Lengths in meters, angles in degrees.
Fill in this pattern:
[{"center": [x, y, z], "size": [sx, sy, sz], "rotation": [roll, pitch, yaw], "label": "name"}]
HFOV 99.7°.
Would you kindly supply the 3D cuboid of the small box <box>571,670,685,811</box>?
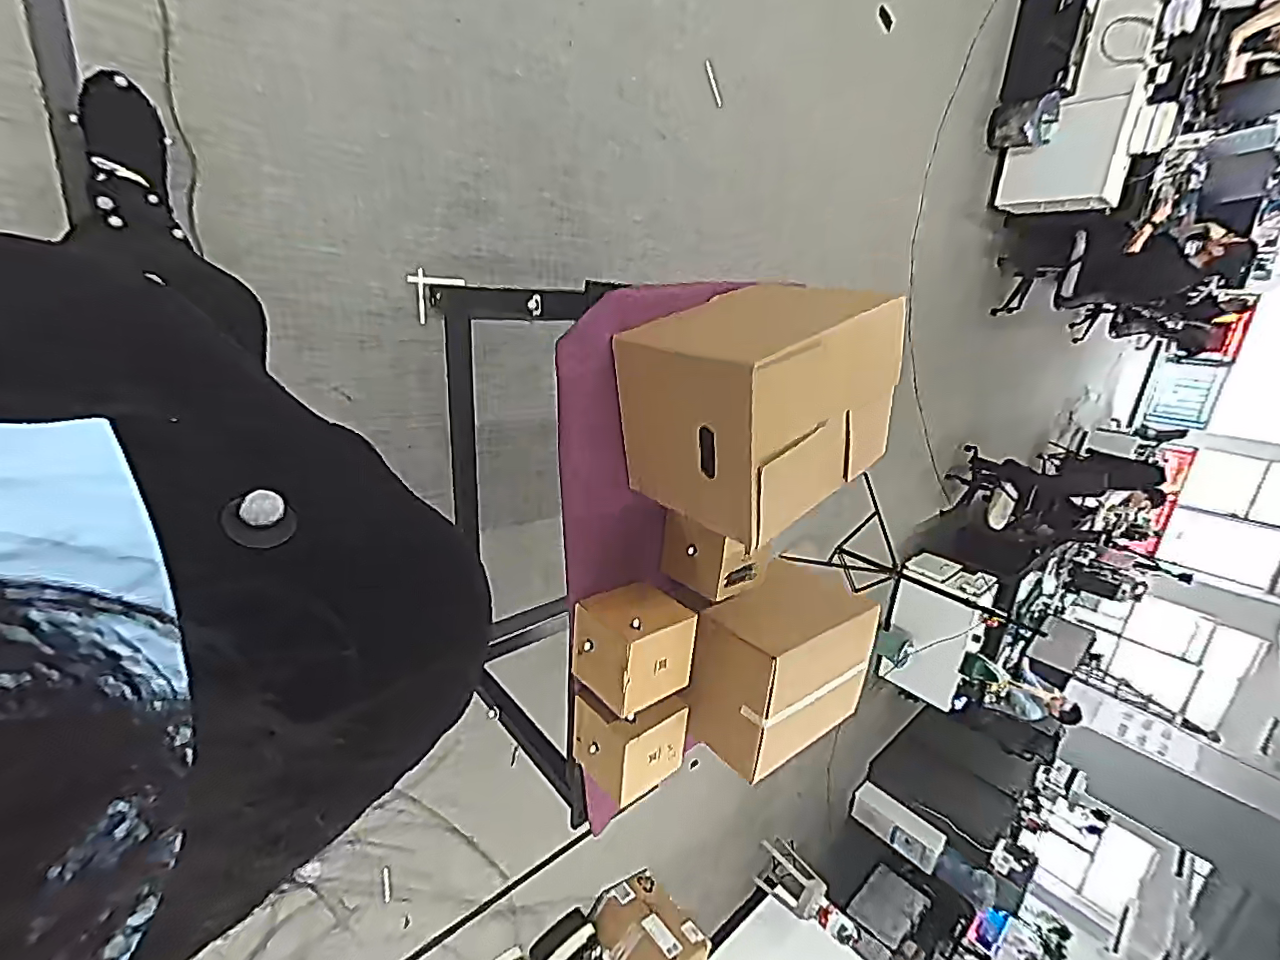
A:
[{"center": [-0.030, 0.537, 1.142], "size": [0.179, 0.176, 0.168], "rotation": [-11, 114, -41], "label": "small box"}]
